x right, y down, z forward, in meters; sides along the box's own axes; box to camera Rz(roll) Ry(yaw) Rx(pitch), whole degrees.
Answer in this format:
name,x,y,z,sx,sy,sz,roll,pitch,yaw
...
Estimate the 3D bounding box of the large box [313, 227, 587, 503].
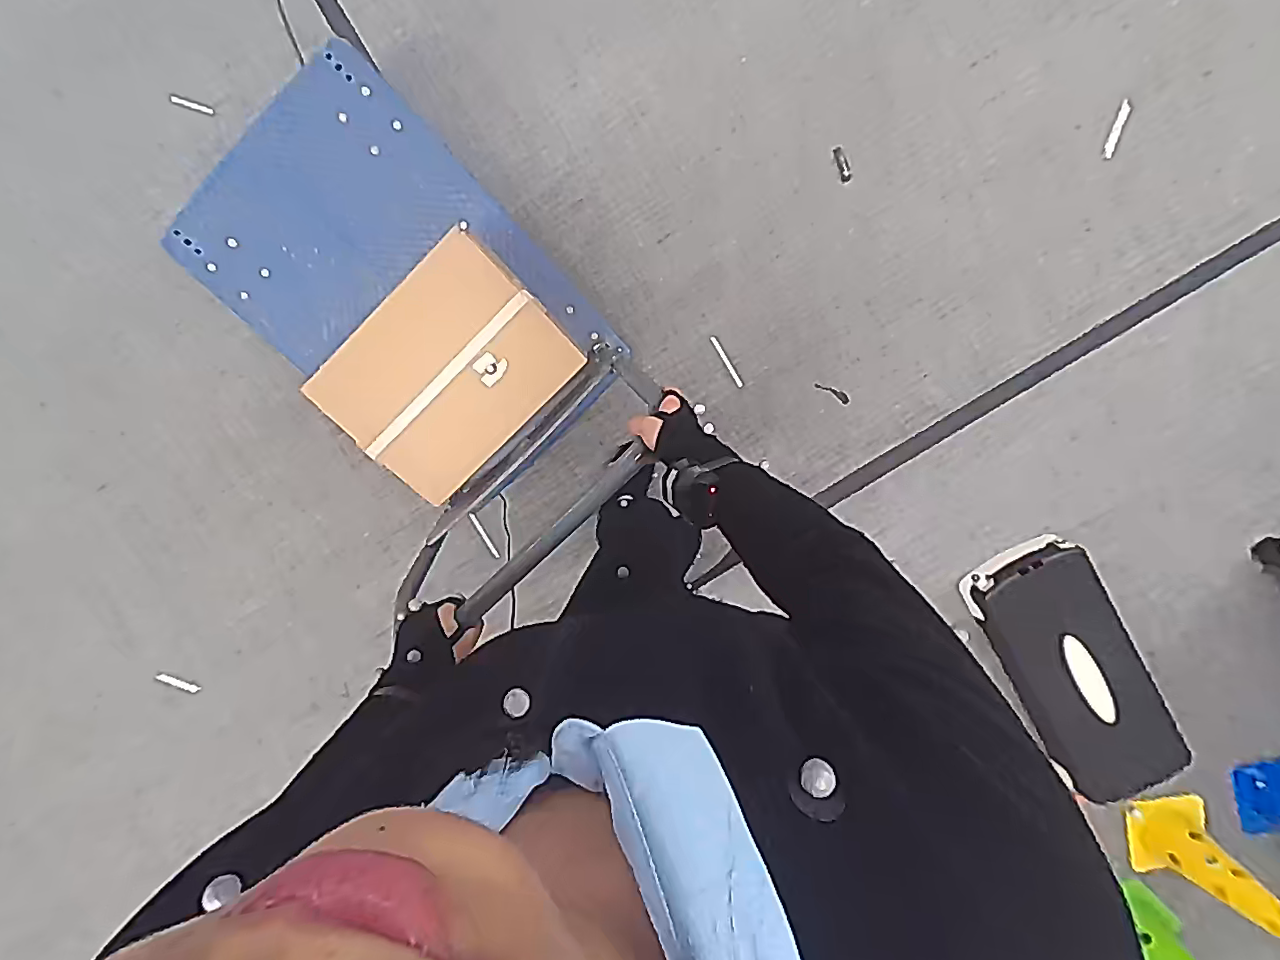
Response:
name,x,y,z,sx,sy,sz,roll,pitch,yaw
large box,-0.355,-0.226,1.117,0.408,0.320,0.320,-44,105,5
